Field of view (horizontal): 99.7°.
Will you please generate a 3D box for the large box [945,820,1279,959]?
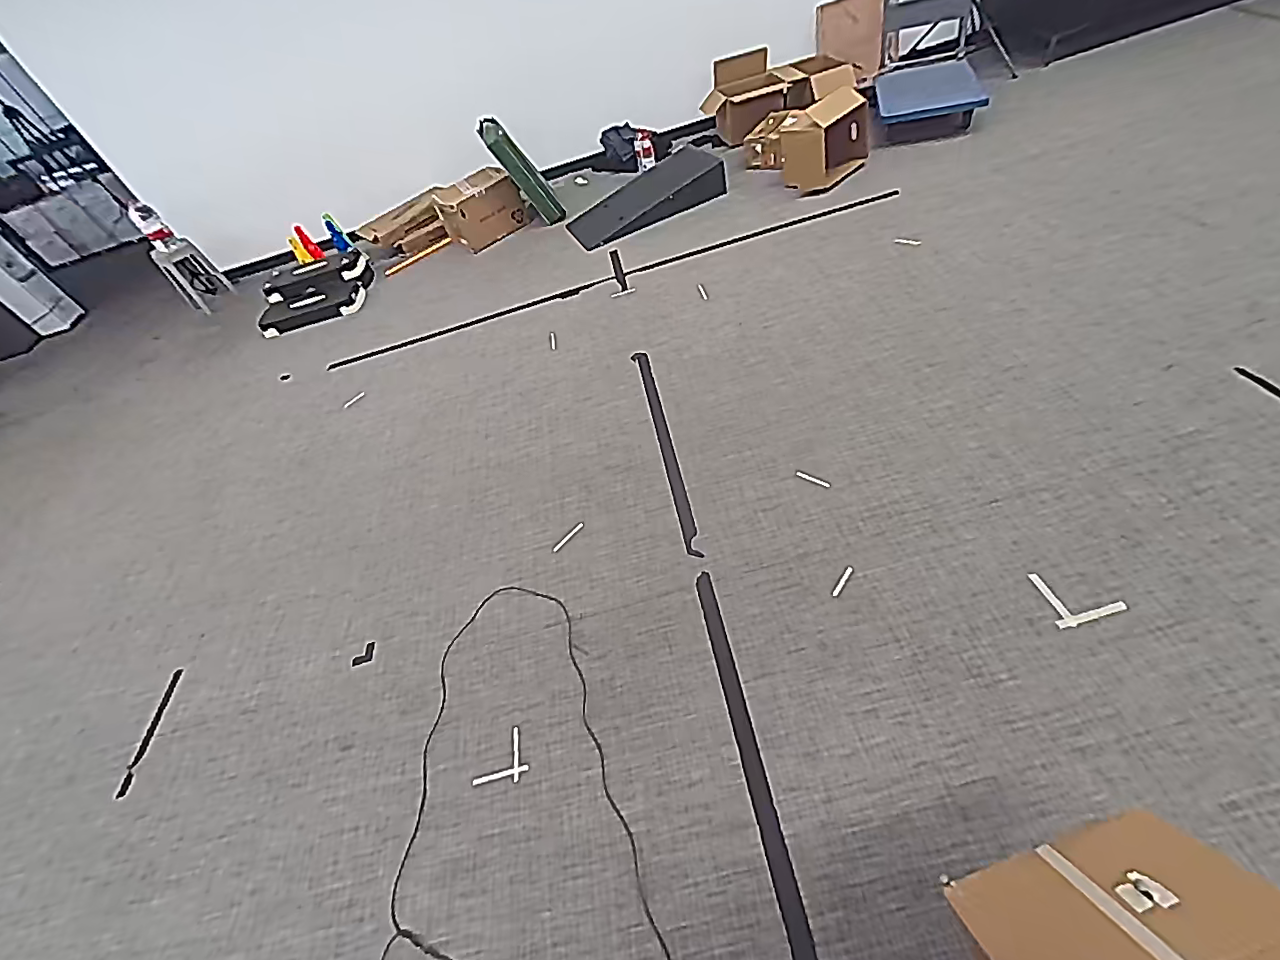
[{"bbox_3d":[0.630,0.665,0.573,0.320,0.408,0.320,-23,81,2],"label":"large box"}]
